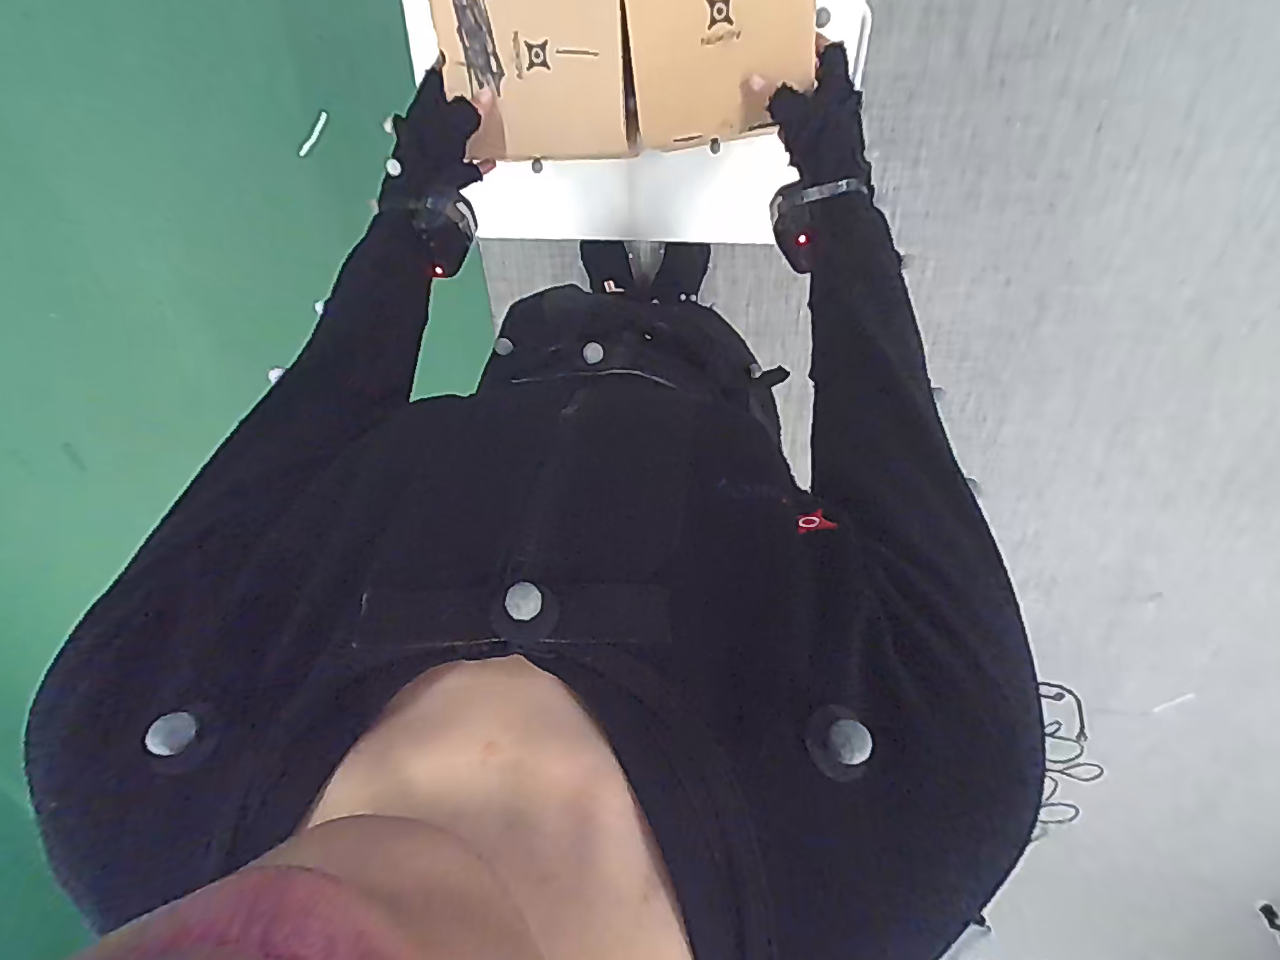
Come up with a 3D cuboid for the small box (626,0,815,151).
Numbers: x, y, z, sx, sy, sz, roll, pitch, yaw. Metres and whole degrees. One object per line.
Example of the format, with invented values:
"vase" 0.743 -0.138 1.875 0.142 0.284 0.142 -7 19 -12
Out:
"small box" 0.080 -0.445 0.544 0.168 0.176 0.179 -2 120 11
